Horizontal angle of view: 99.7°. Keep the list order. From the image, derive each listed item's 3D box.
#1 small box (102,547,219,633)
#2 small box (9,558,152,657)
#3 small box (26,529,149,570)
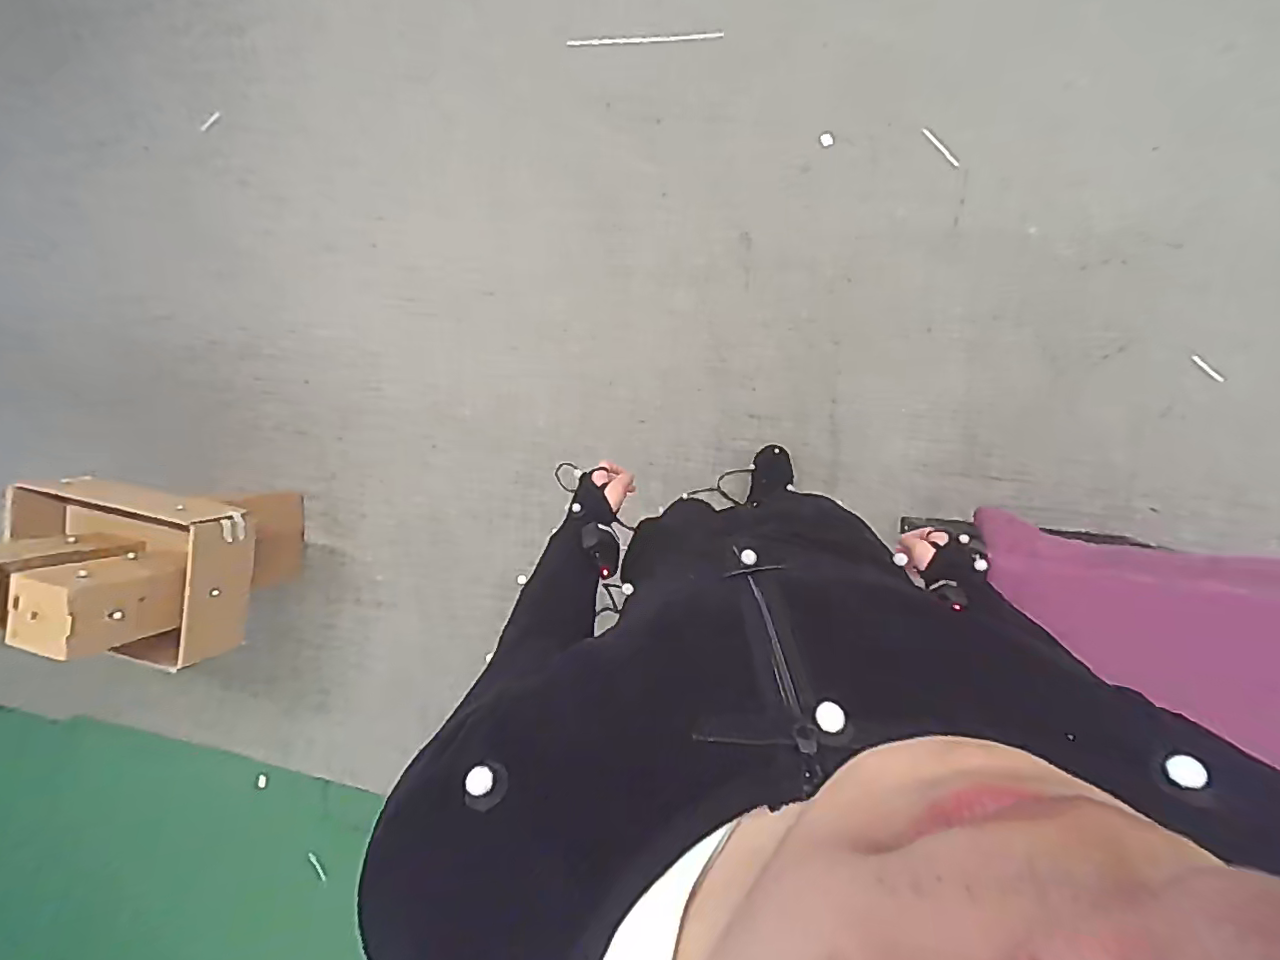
[{"bbox_3d":[-1.269,0.282,1.429,0.179,0.176,0.168,11,96,12],"label":"small box"},{"bbox_3d":[-1.303,0.290,1.270,0.179,0.176,0.168,11,95,11],"label":"small box"},{"bbox_3d":[-1.512,0.235,1.483,0.179,0.176,0.168,9,94,8],"label":"small box"}]
